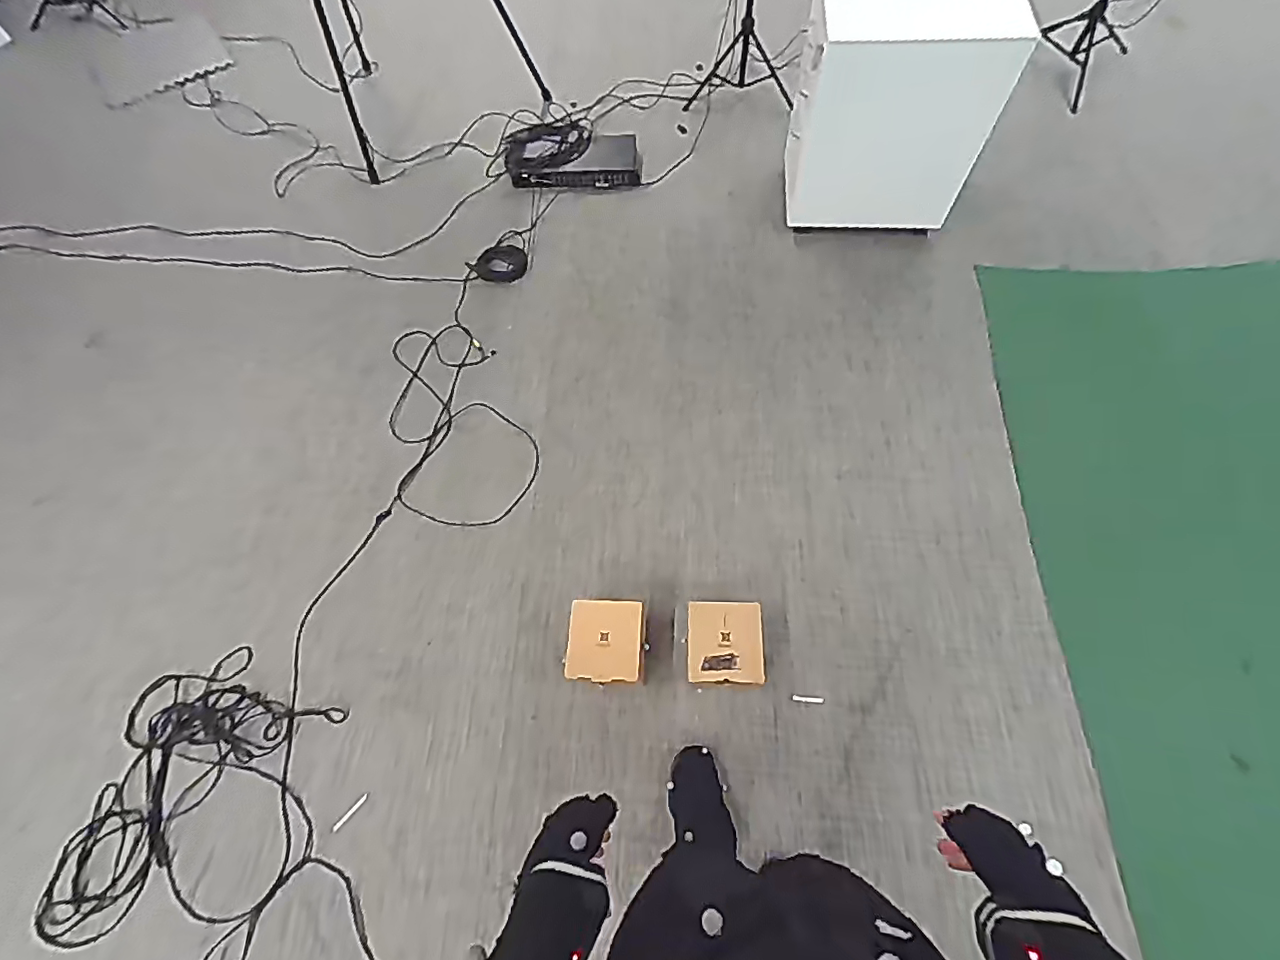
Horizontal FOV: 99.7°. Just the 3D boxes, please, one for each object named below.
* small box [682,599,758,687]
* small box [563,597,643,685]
[{"bbox_3d":[0.185,0.388,1.273,0.168,0.176,0.179,1,64,4],"label":"small box"},{"bbox_3d":[-0.081,0.388,1.293,0.168,0.176,0.179,1,65,5],"label":"small box"}]
